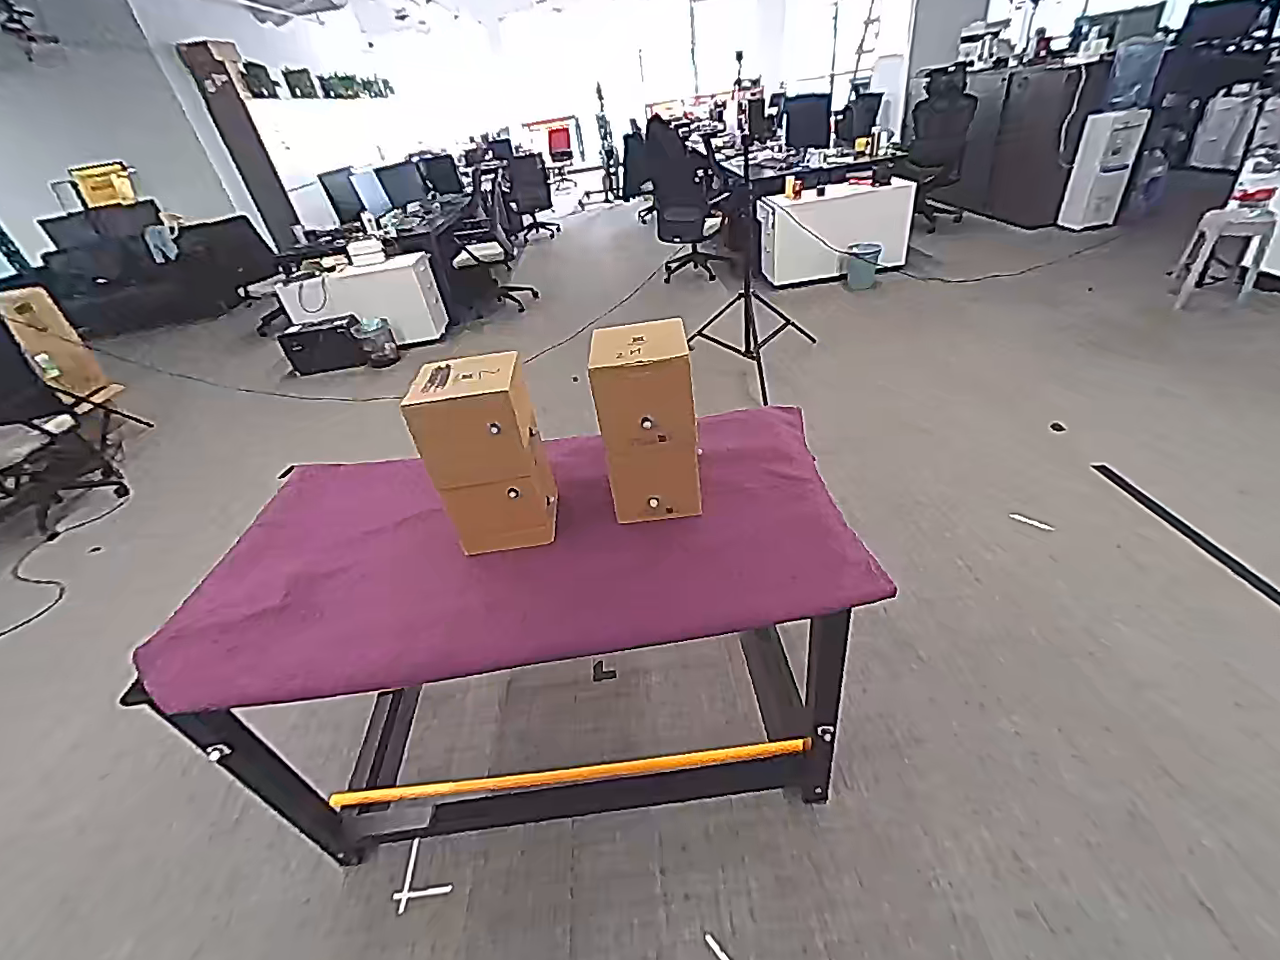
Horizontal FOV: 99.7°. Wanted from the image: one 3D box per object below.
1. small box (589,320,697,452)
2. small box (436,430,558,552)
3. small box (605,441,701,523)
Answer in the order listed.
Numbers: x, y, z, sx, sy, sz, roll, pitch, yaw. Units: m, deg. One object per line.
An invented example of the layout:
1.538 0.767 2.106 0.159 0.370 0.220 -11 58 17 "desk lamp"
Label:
0.009 -0.170 0.974 0.168 0.176 0.179 -7 36 4 "small box"
-0.268 0.024 1.057 0.179 0.176 0.168 -8 35 1 "small box"
0.028 -0.038 1.071 0.168 0.176 0.179 -7 36 4 "small box"
